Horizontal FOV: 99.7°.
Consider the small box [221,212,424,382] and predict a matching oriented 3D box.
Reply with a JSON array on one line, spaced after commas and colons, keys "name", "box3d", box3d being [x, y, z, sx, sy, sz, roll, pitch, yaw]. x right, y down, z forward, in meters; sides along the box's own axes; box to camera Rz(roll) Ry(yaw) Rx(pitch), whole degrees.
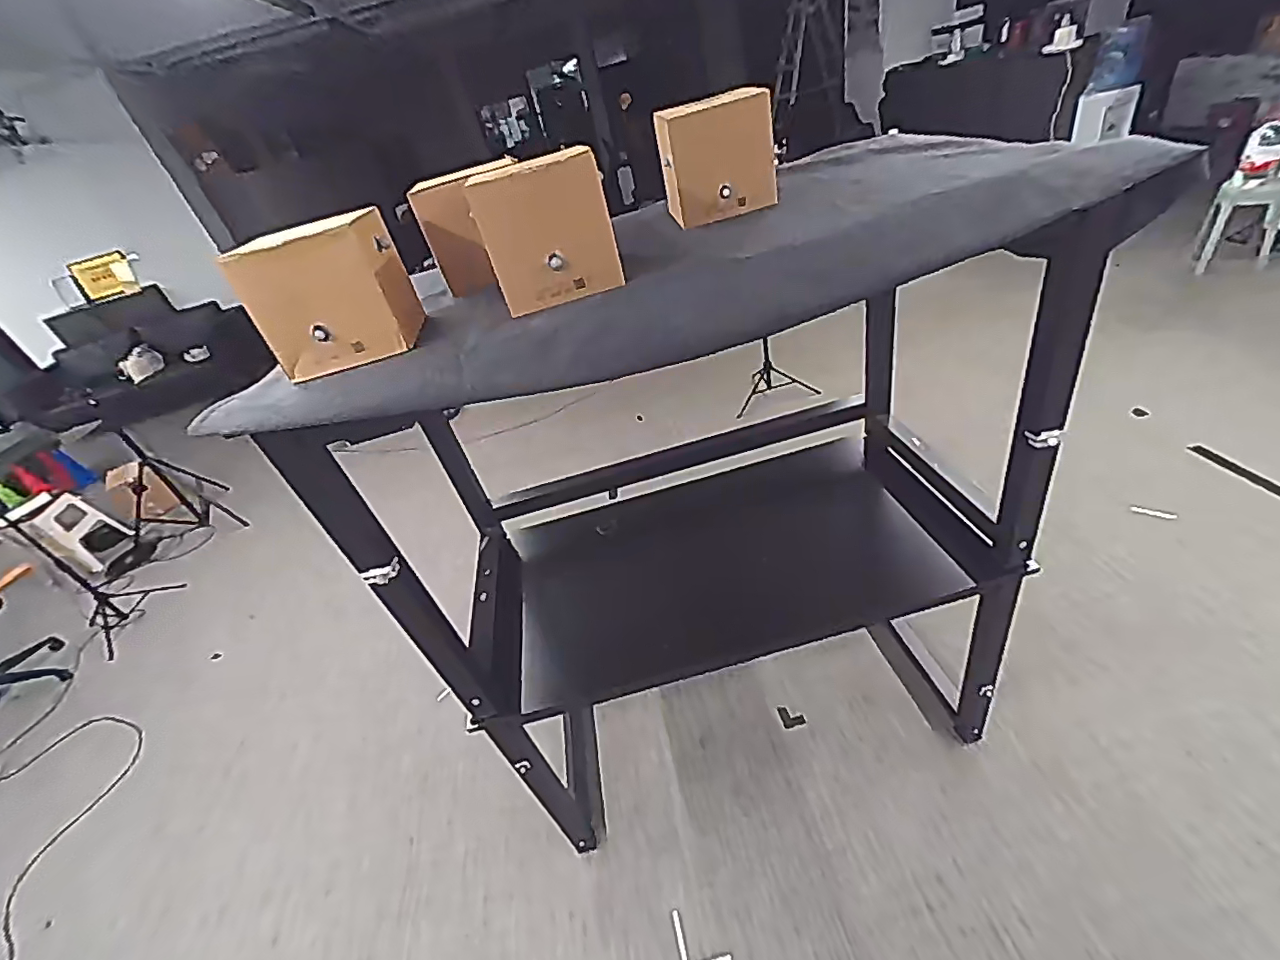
[{"name": "small box", "box3d": [-0.422, -0.258, 0.760, 0.168, 0.176, 0.179, -17, 35, -3]}]

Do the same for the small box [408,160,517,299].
[{"name": "small box", "box3d": [-0.275, -0.440, 0.949, 0.179, 0.176, 0.168, -17, 36, -3]}]

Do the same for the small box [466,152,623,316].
[{"name": "small box", "box3d": [-0.131, -0.352, 0.774, 0.168, 0.176, 0.179, -17, 35, -1]}]
